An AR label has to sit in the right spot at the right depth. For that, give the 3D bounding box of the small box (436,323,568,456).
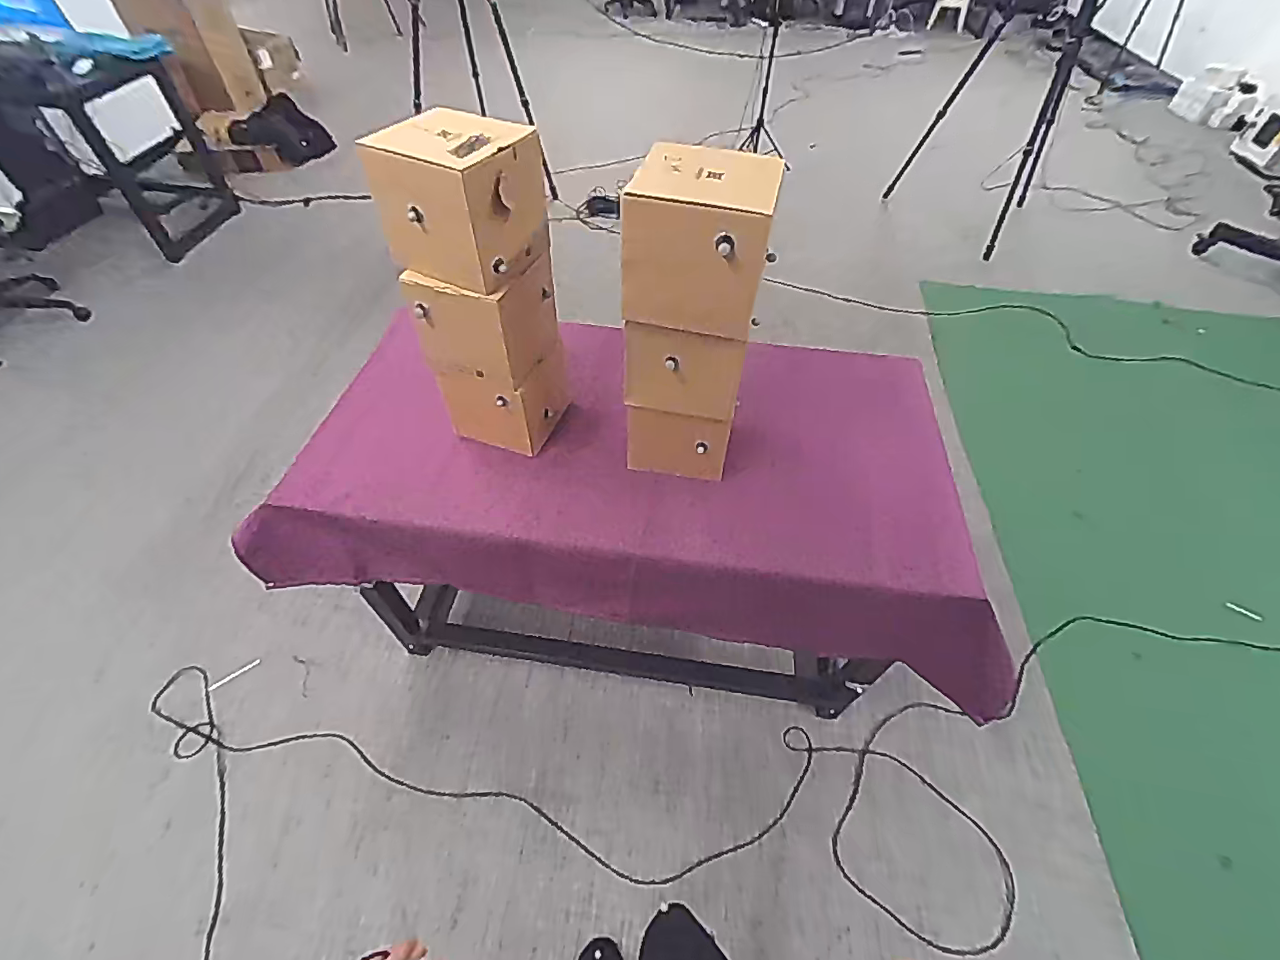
[{"bbox_3d":[-0.252,-0.170,1.034,0.179,0.176,0.168,16,51,11],"label":"small box"}]

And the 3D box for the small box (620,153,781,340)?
[{"bbox_3d":[0.078,-0.312,0.733,0.179,0.176,0.168,12,50,8],"label":"small box"}]

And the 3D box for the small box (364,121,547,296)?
[{"bbox_3d":[-0.254,-0.395,0.794,0.179,0.176,0.168,21,52,16],"label":"small box"}]

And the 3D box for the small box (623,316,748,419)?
[{"bbox_3d":[0.076,-0.217,0.869,0.179,0.176,0.168,10,50,7],"label":"small box"}]

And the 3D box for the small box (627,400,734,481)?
[{"bbox_3d":[0.075,-0.117,0.999,0.179,0.176,0.168,8,49,6],"label":"small box"}]
